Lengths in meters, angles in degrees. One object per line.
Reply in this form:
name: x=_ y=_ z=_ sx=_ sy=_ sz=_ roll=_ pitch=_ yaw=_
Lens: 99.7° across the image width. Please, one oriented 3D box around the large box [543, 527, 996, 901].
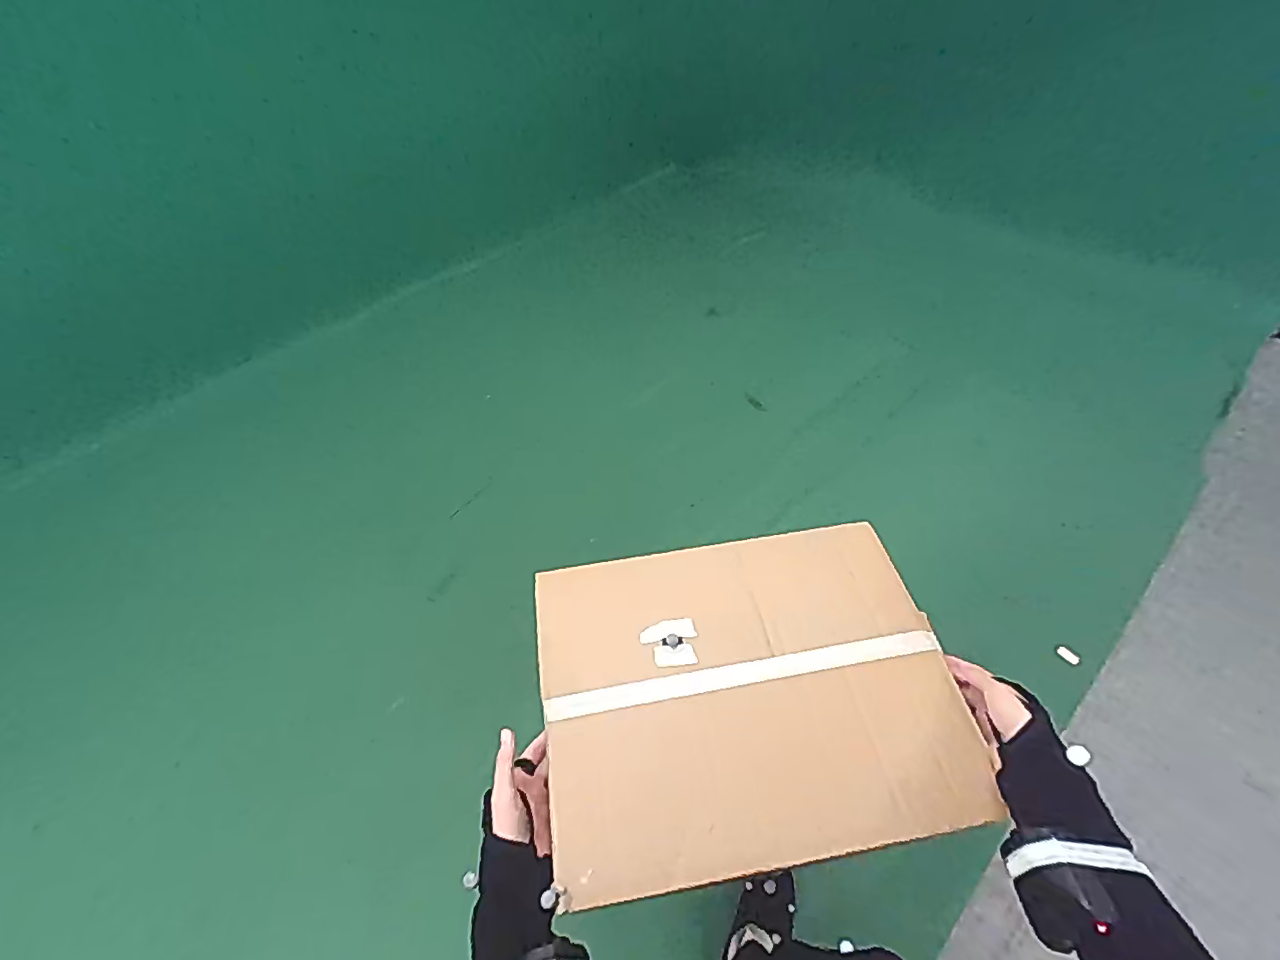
large box: x=0.110 y=0.292 z=0.678 sx=0.408 sy=0.320 sz=0.320 roll=-8 pitch=53 yaw=-4
